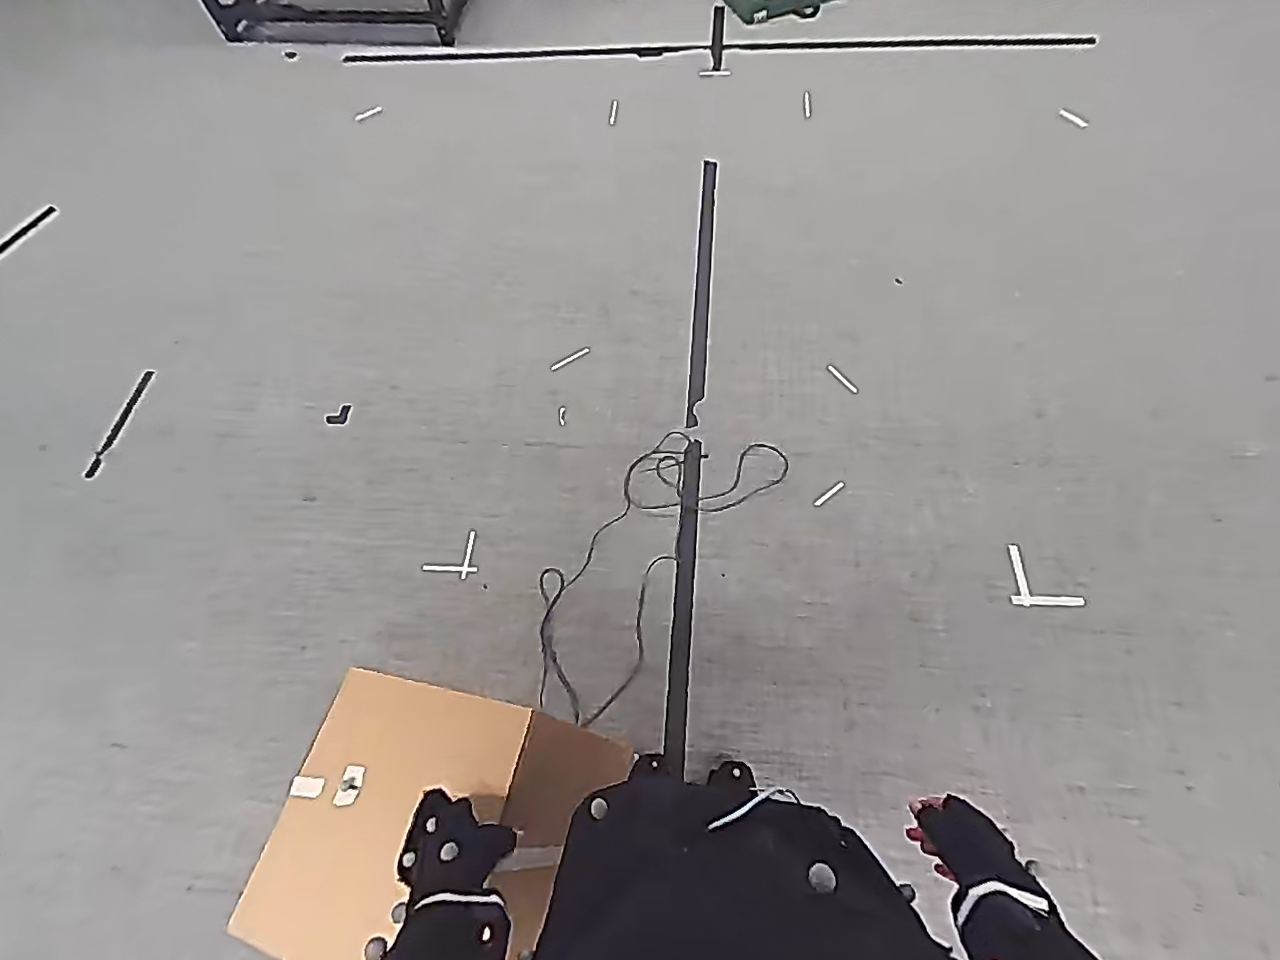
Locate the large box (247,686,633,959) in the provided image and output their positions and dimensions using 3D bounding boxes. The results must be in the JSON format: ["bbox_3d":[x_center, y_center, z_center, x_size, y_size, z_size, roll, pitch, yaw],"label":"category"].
[{"bbox_3d":[-0.243,0.526,0.808,0.320,0.408,0.320,4,60,22],"label":"large box"}]
